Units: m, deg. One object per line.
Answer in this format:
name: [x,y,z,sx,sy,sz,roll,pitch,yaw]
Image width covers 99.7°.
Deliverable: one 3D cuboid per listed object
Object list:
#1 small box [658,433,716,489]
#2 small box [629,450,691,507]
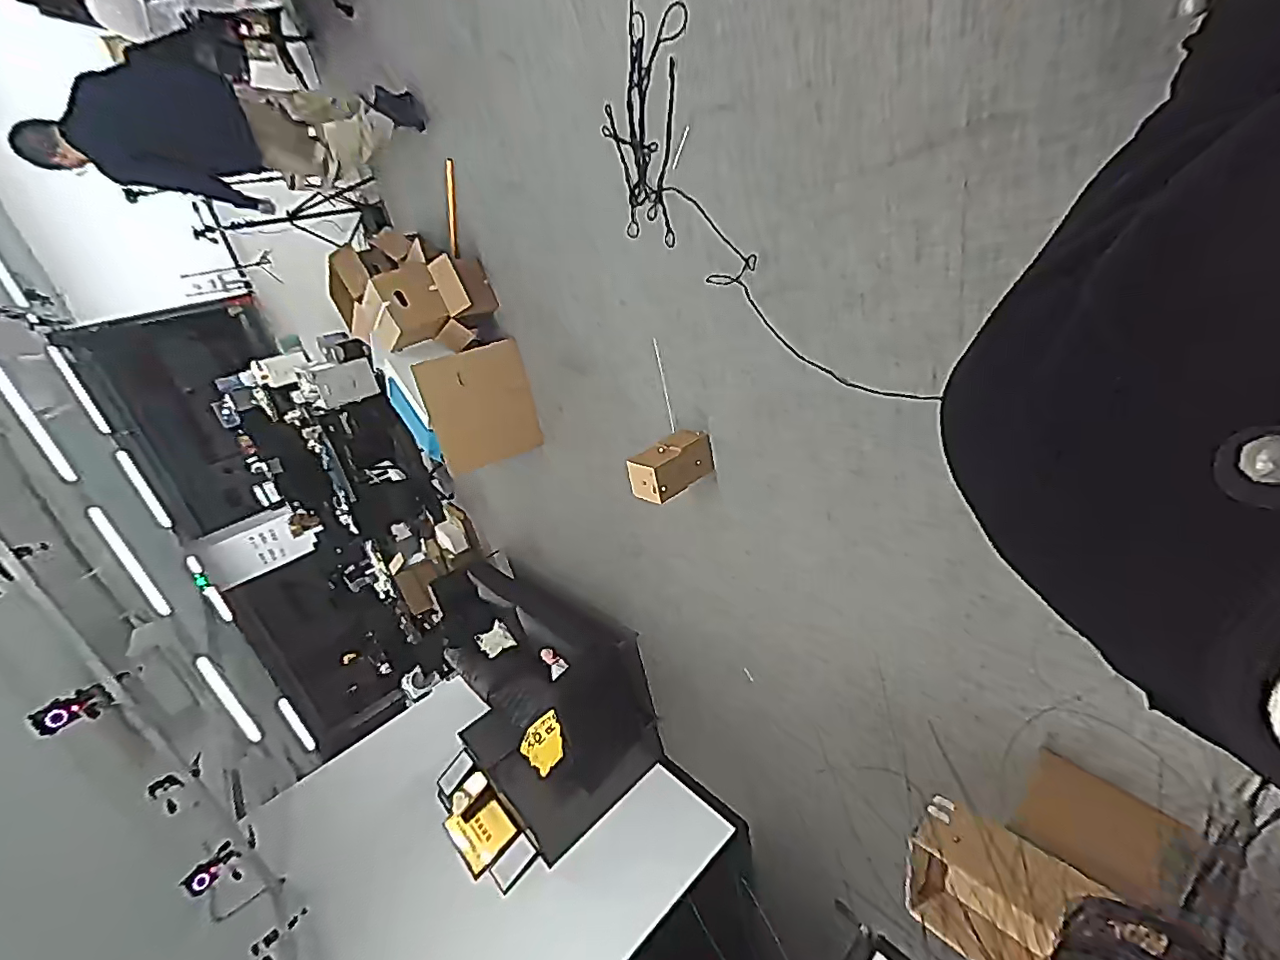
small box: [0.204,-0.088,2.323,0.168,0.176,0.179,17,128,49]
small box: [0.084,-0.014,2.238,0.179,0.176,0.168,18,129,48]
